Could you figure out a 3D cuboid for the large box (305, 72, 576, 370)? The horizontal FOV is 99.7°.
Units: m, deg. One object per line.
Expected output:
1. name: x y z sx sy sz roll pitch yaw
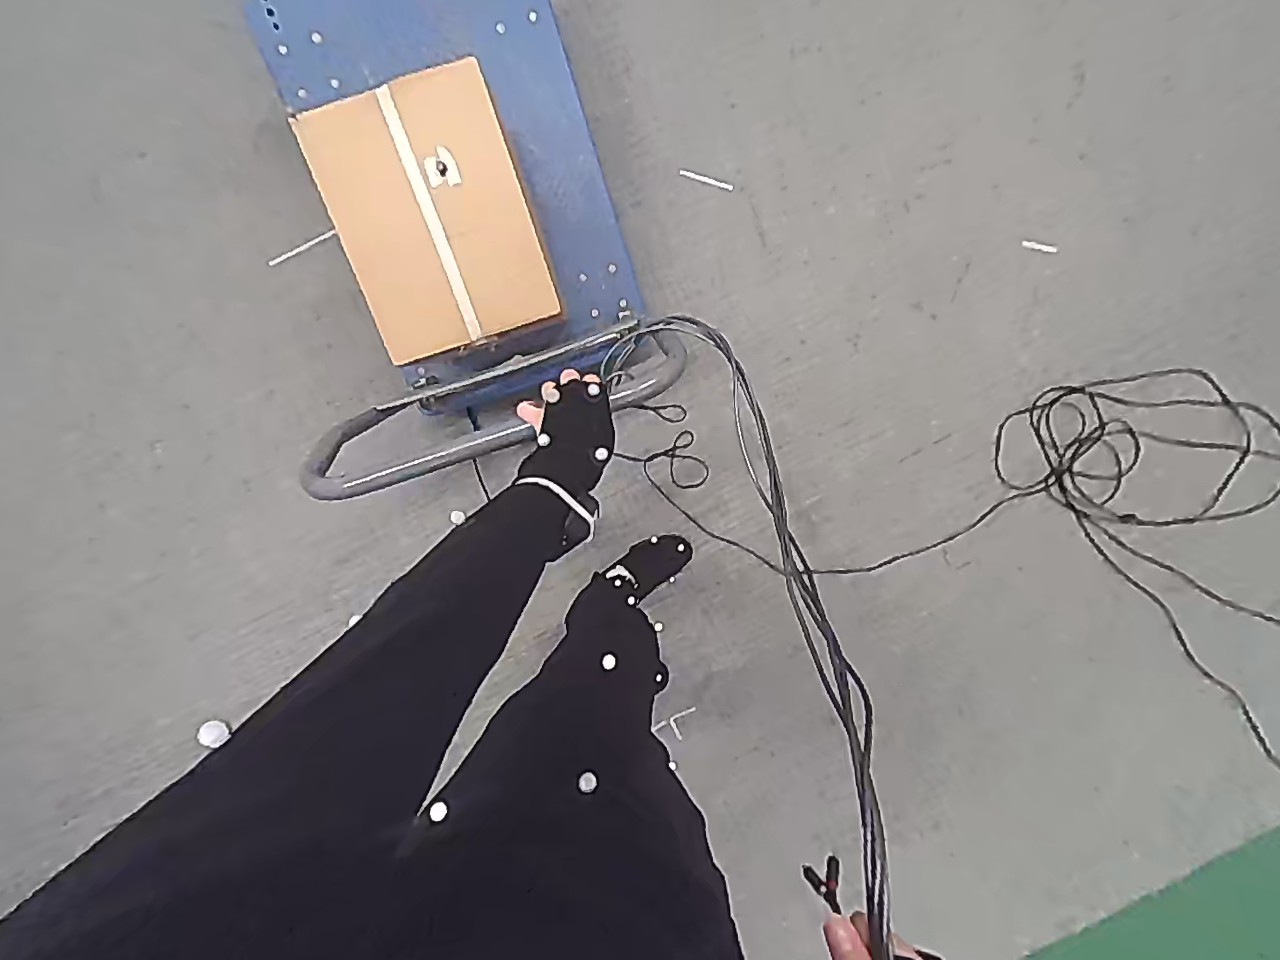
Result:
1. large box: -0.342 -0.457 1.056 0.320 0.320 0.408 -18 104 0
